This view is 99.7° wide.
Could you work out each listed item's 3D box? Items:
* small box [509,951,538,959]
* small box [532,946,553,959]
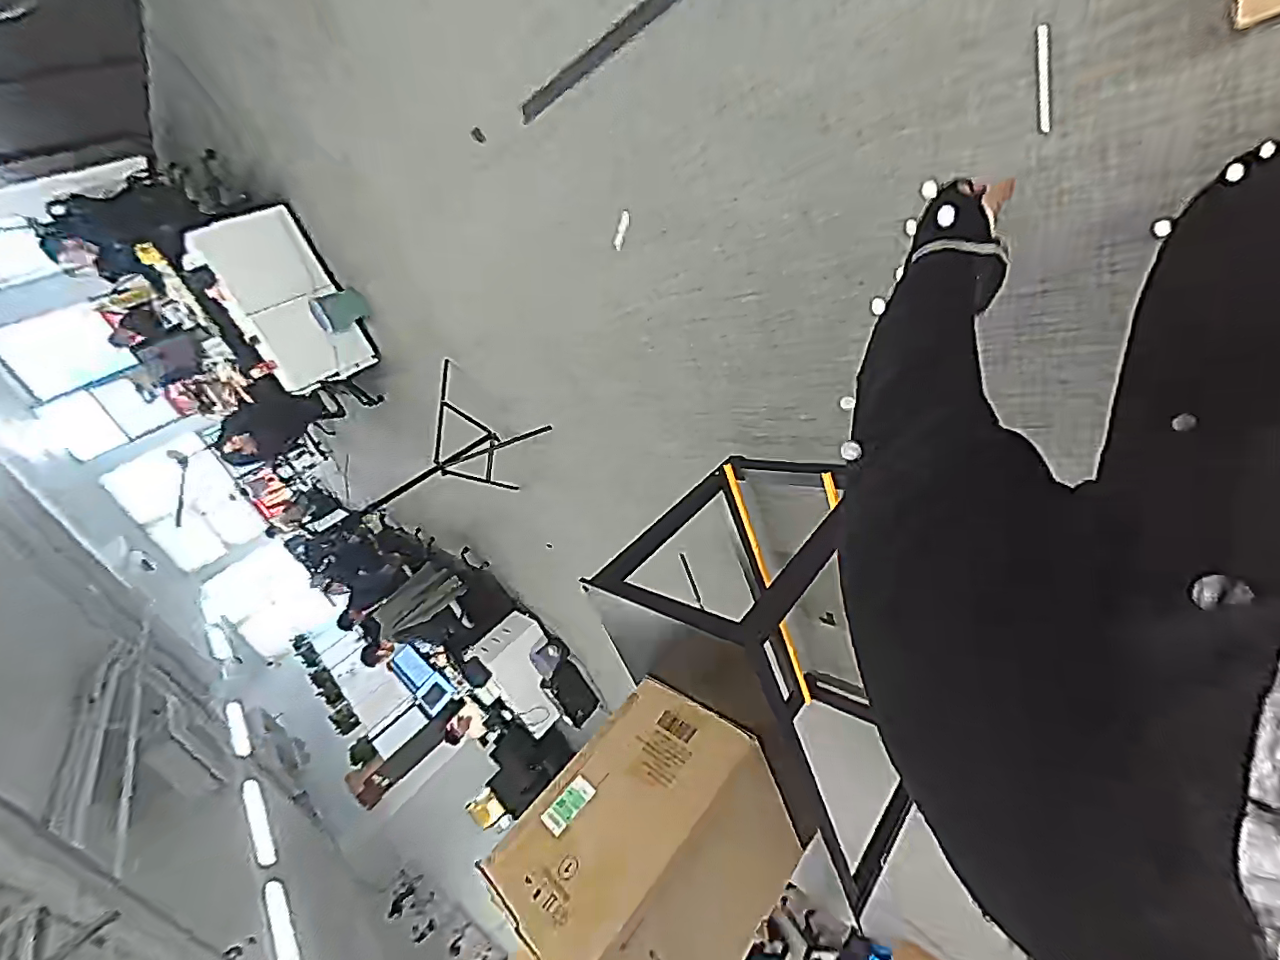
[{"bbox_3d":[-0.223,1.098,1.078,0.179,0.176,0.168,4,127,49],"label":"small box"},{"bbox_3d":[-0.236,1.311,1.321,0.179,0.176,0.168,9,128,48],"label":"small box"}]
